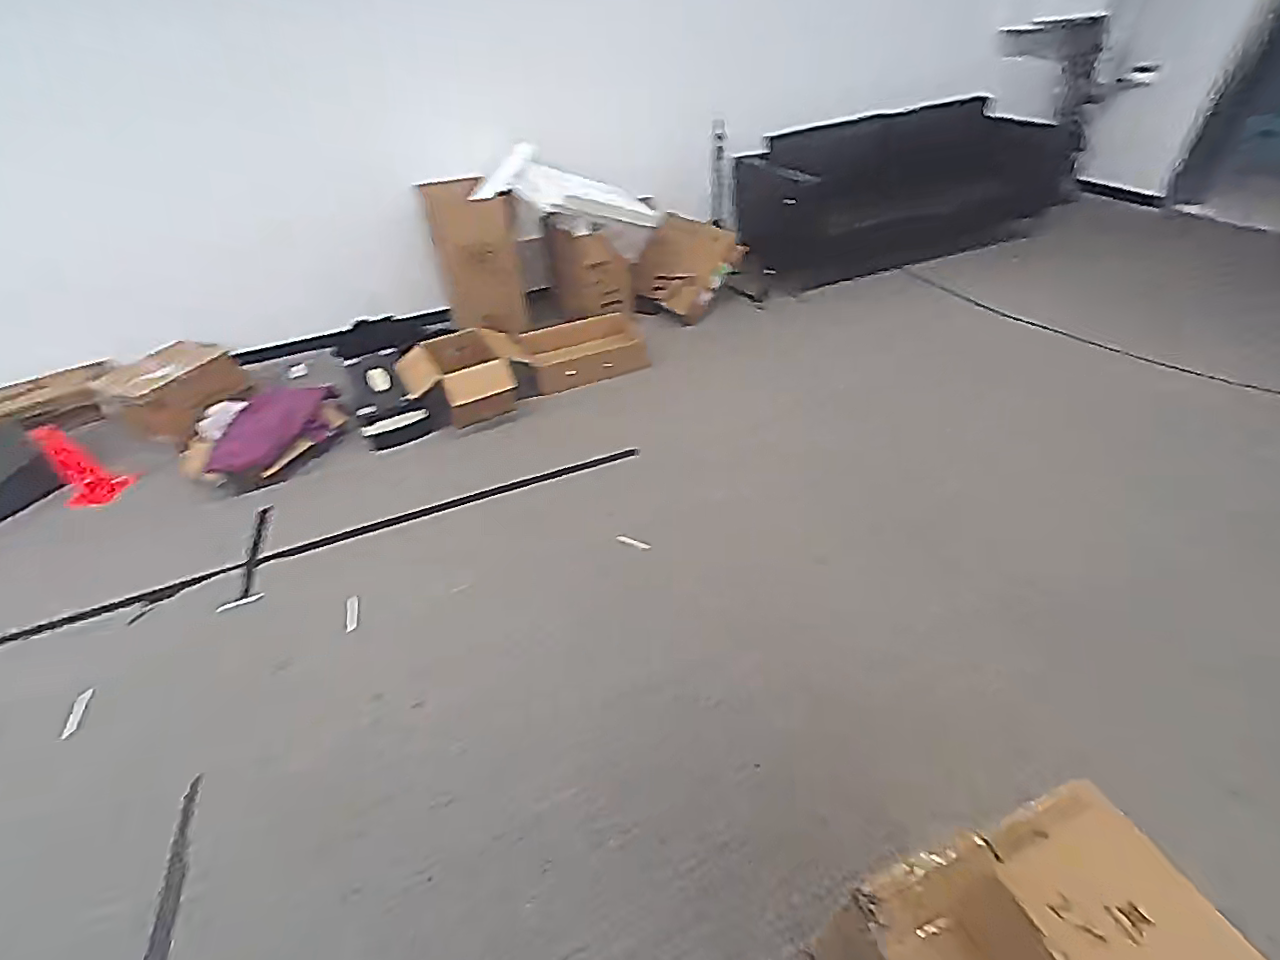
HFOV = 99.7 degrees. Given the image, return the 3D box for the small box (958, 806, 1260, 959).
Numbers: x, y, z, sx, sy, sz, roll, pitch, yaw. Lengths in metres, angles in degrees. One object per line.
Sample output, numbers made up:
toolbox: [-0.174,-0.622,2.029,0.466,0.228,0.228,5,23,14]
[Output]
small box: [0.498,0.506,0.600,0.179,0.176,0.168,-18,42,-12]
